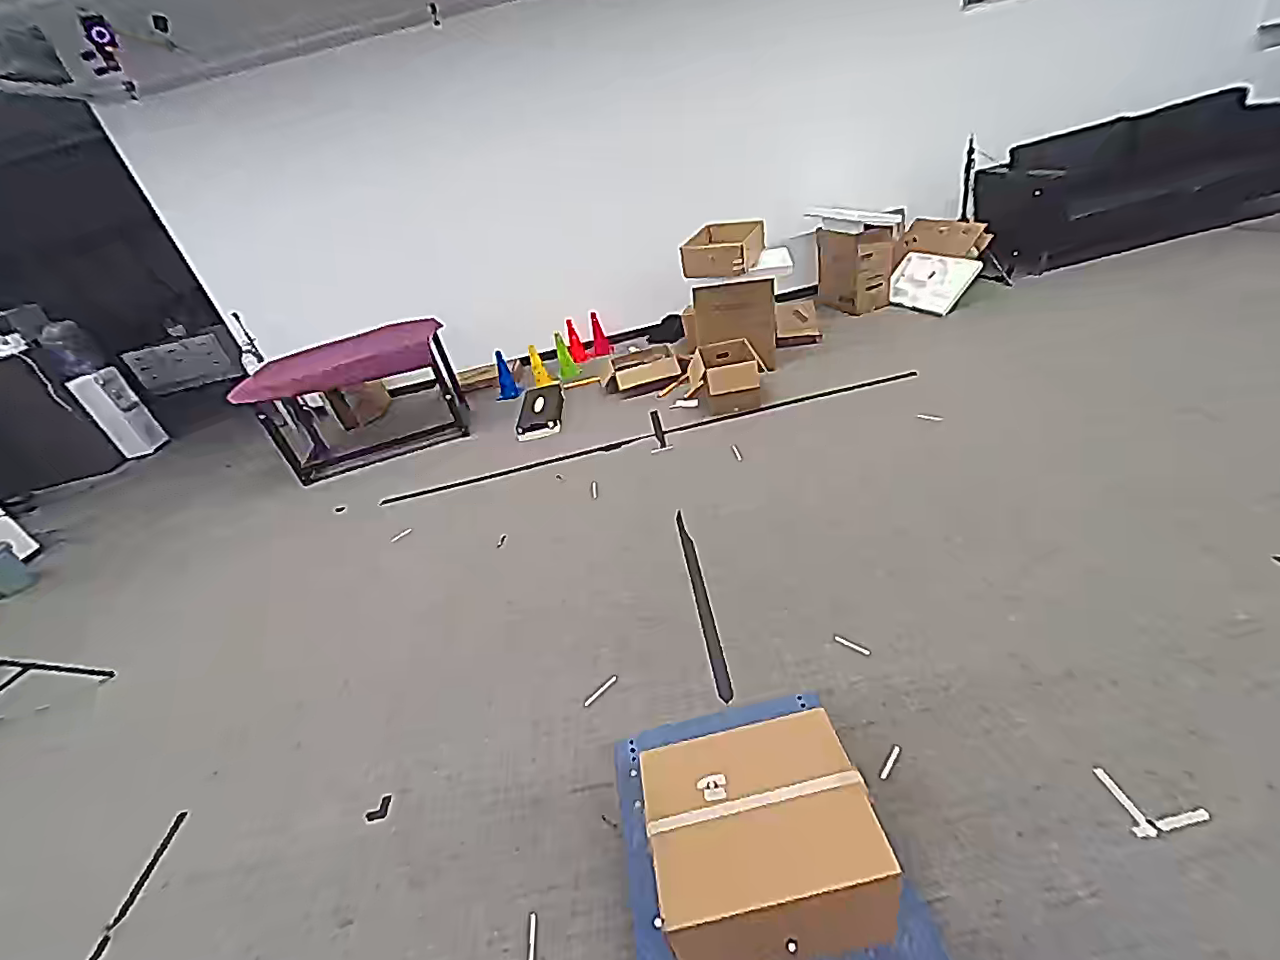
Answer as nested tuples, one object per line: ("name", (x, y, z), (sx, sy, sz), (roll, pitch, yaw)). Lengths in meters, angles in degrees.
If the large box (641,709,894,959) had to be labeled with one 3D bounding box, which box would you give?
("large box", (0.247, 0.740, 1.105), (0.408, 0.320, 0.320), (-15, 31, 0))
